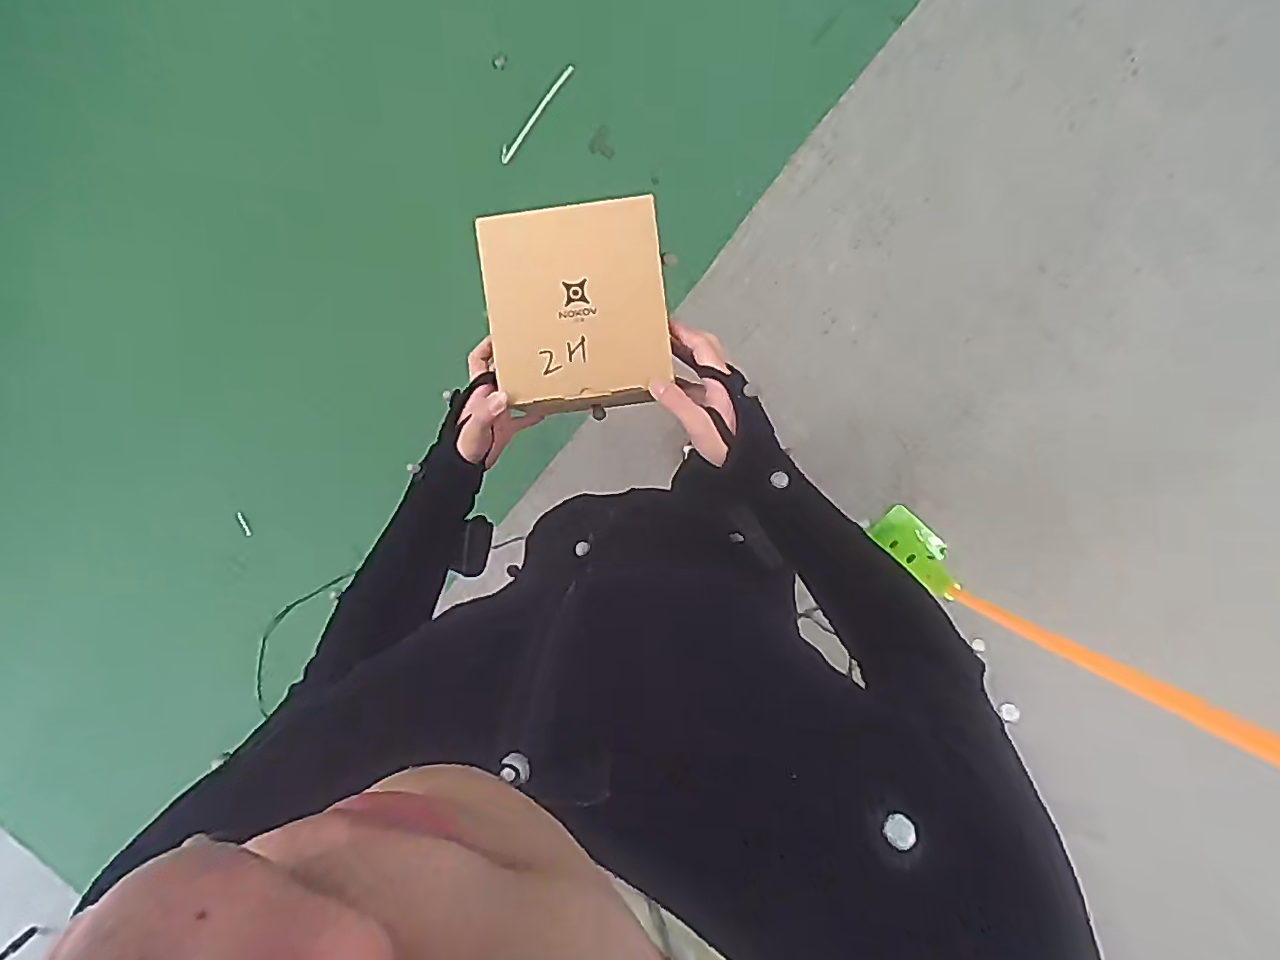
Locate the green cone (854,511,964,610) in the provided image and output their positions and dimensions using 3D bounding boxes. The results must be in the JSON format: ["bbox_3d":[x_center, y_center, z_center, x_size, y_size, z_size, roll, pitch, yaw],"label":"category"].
[{"bbox_3d":[0.711,0.235,1.350,0.200,0.368,0.202,42,101,1],"label":"green cone"}]
